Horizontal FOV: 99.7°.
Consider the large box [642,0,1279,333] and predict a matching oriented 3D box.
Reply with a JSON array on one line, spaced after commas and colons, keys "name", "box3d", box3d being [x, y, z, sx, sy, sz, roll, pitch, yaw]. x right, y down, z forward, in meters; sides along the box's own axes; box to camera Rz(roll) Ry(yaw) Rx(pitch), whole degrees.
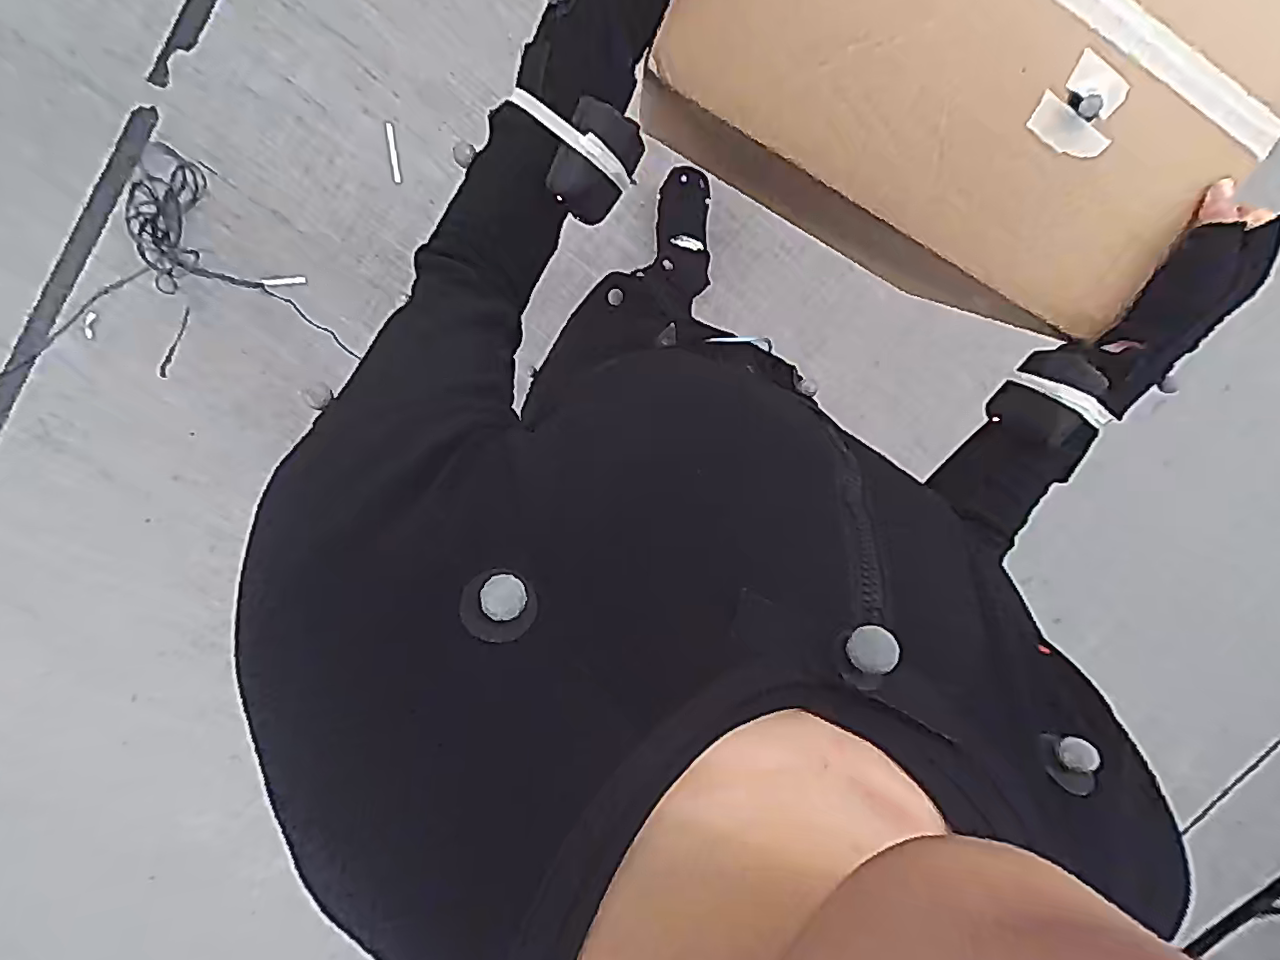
[{"name": "large box", "box3d": [0.247, -0.385, 0.477, 0.408, 0.320, 0.320, 24, 115, -14]}]
